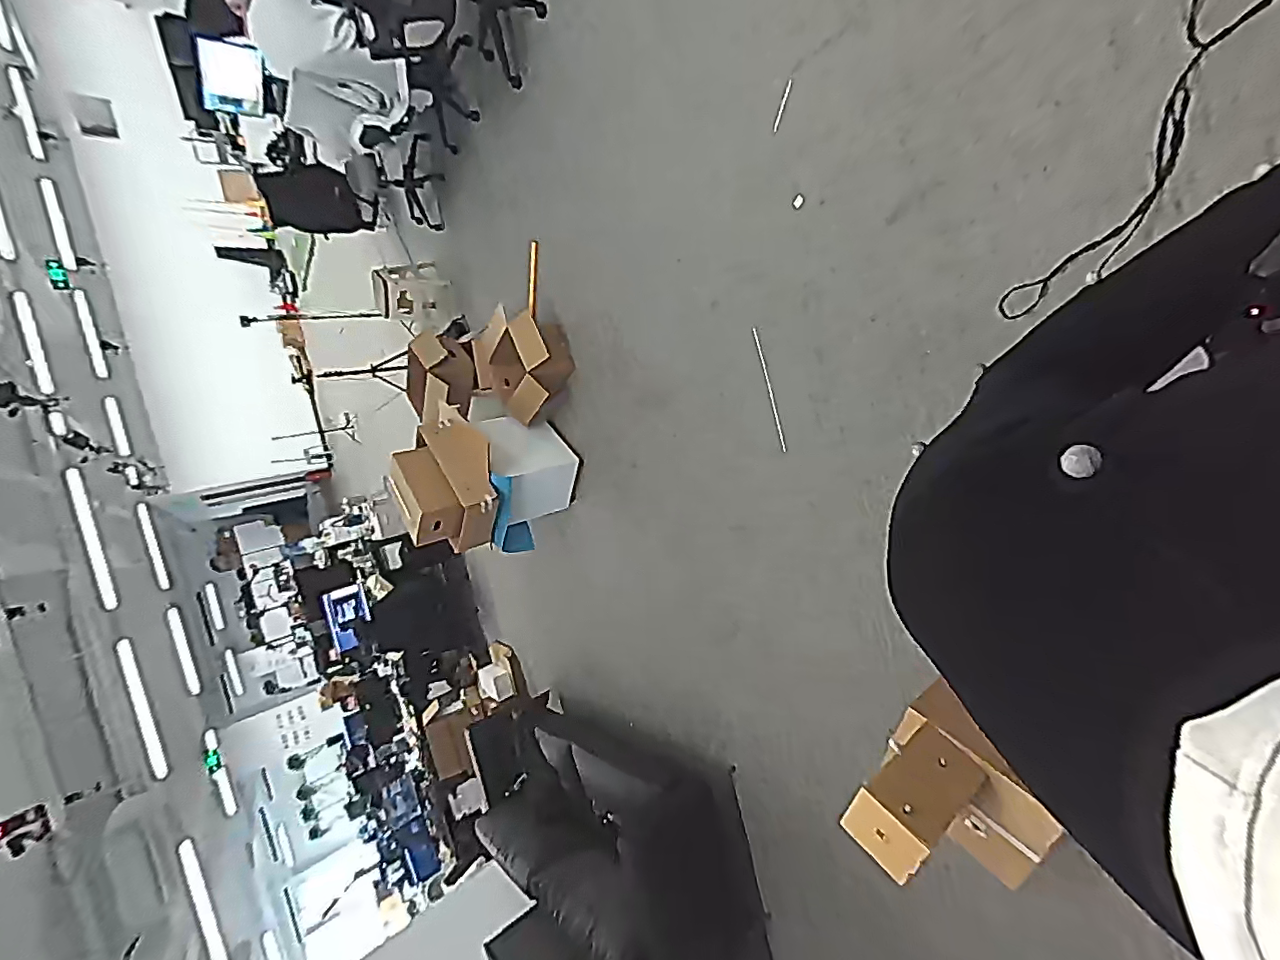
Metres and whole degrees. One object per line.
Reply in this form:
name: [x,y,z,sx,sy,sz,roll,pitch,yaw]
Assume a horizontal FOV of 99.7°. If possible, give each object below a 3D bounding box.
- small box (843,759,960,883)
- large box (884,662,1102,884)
small box: [0.645,0.828,1.338,0.179,0.176,0.168,36,129,38]
large box: [0.997,0.815,1.564,0.408,0.320,0.320,32,129,41]
